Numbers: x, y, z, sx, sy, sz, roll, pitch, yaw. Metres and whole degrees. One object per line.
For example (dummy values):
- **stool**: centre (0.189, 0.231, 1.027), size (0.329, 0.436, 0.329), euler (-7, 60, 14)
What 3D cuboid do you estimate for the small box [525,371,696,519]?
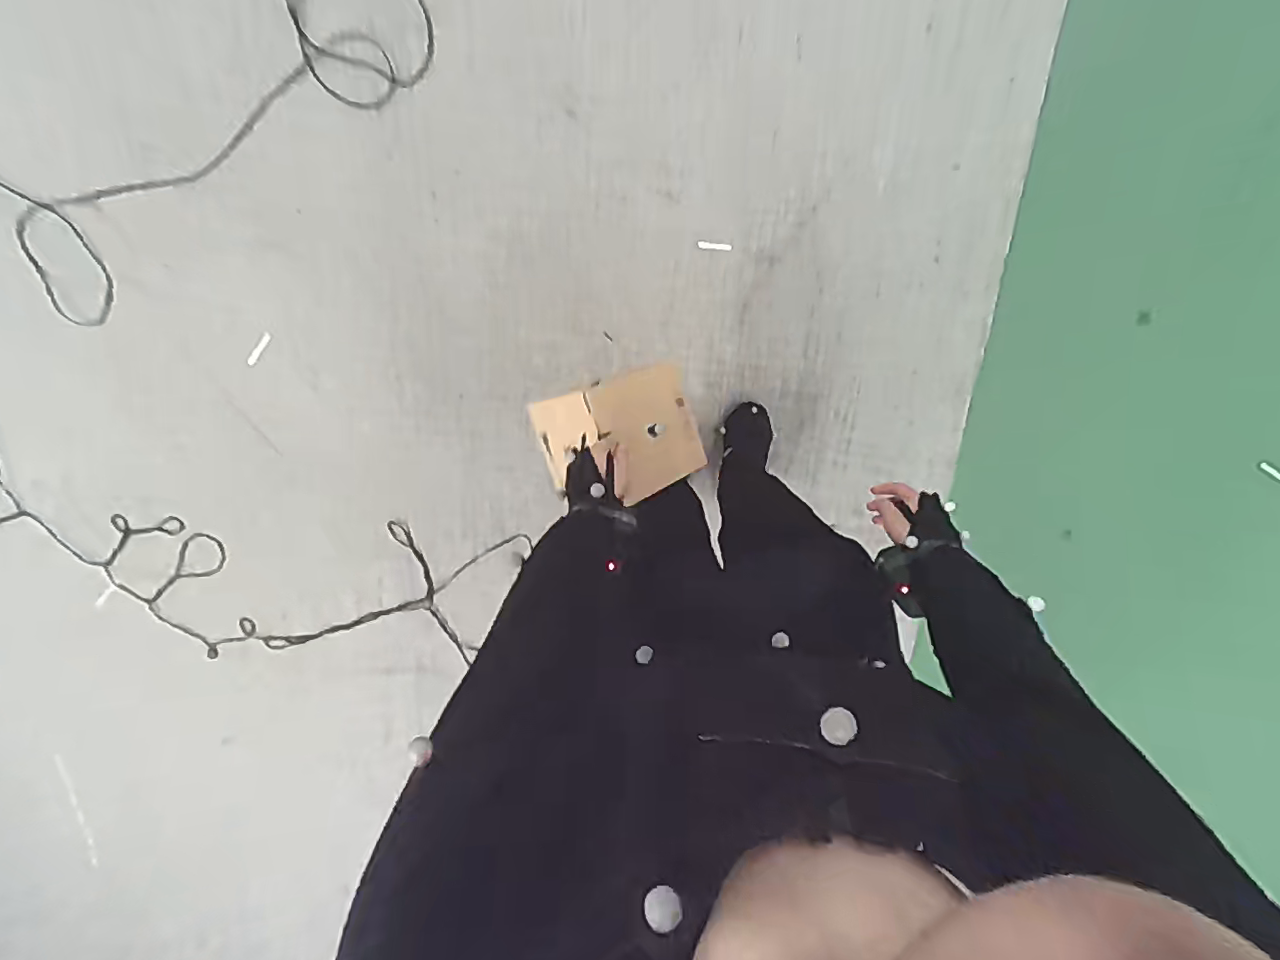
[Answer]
- **small box**: centre (-0.037, -0.053, 0.818), size (0.176, 0.179, 0.168), euler (-30, 106, -35)
